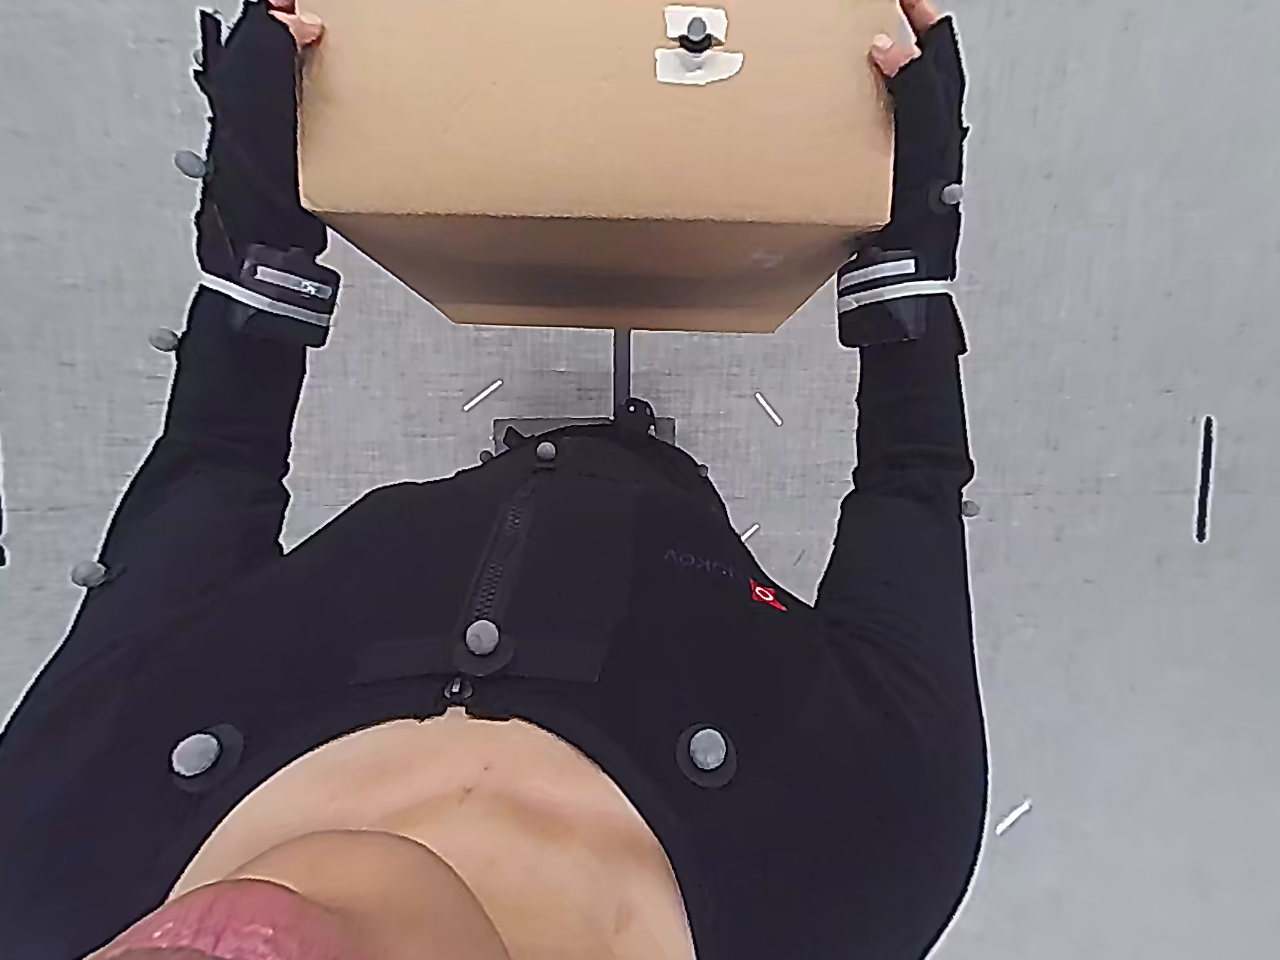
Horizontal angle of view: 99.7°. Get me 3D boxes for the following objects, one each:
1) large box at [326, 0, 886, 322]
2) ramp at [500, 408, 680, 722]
[{"bbox_3d":[-0.025,-0.349,0.531,0.408,0.320,0.320,1,92,0],"label":"large box"},{"bbox_3d":[-0.128,0.287,1.595,0.509,0.206,0.991,-2,96,-2],"label":"ramp"}]
